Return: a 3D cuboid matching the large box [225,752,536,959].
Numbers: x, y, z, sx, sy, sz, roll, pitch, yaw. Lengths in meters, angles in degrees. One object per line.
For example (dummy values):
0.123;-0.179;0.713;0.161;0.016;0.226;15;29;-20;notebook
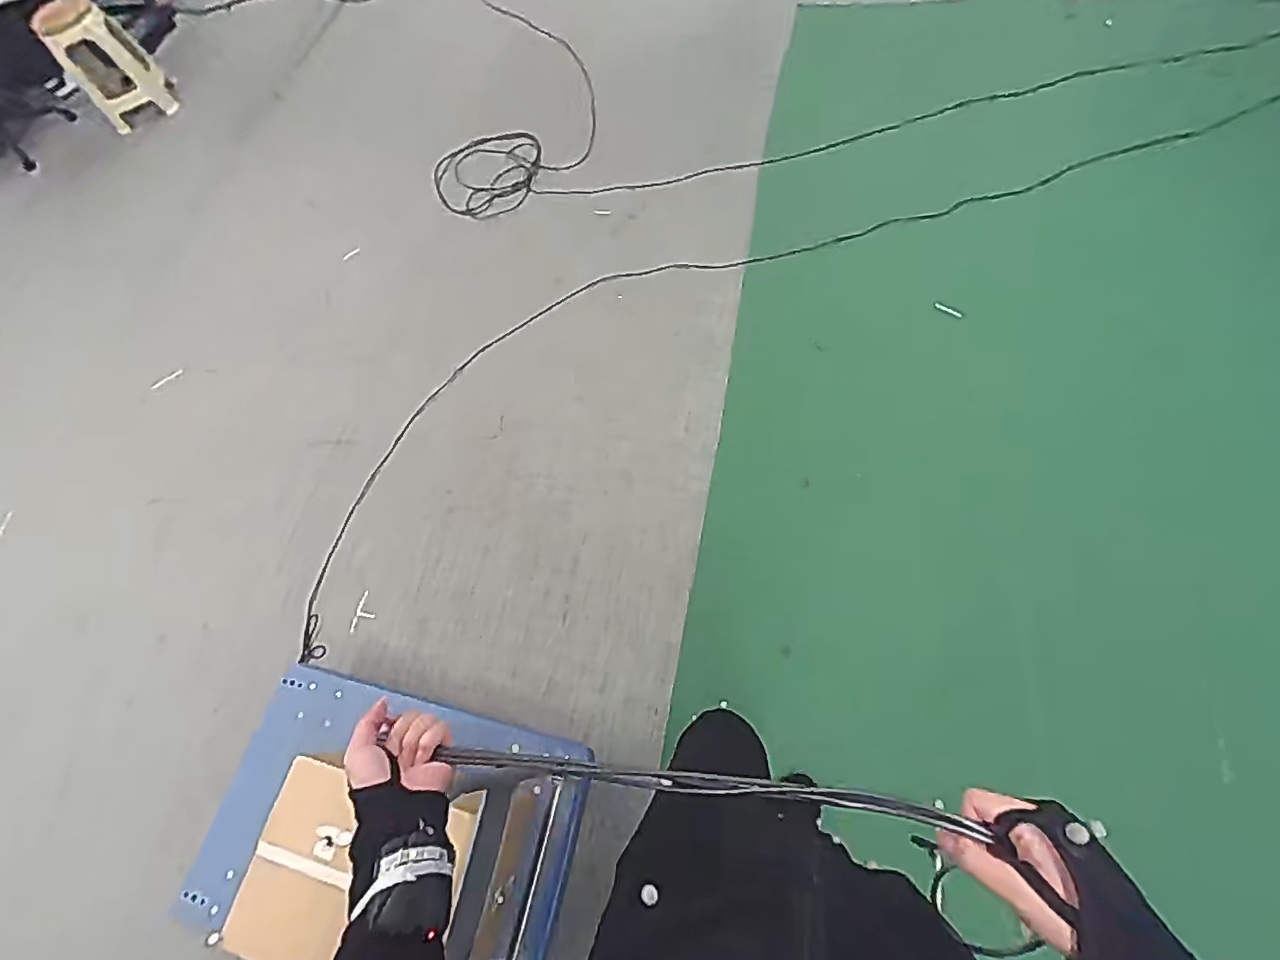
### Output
-0.474;0.766;1.078;0.408;0.320;0.320;9;67;14;large box
